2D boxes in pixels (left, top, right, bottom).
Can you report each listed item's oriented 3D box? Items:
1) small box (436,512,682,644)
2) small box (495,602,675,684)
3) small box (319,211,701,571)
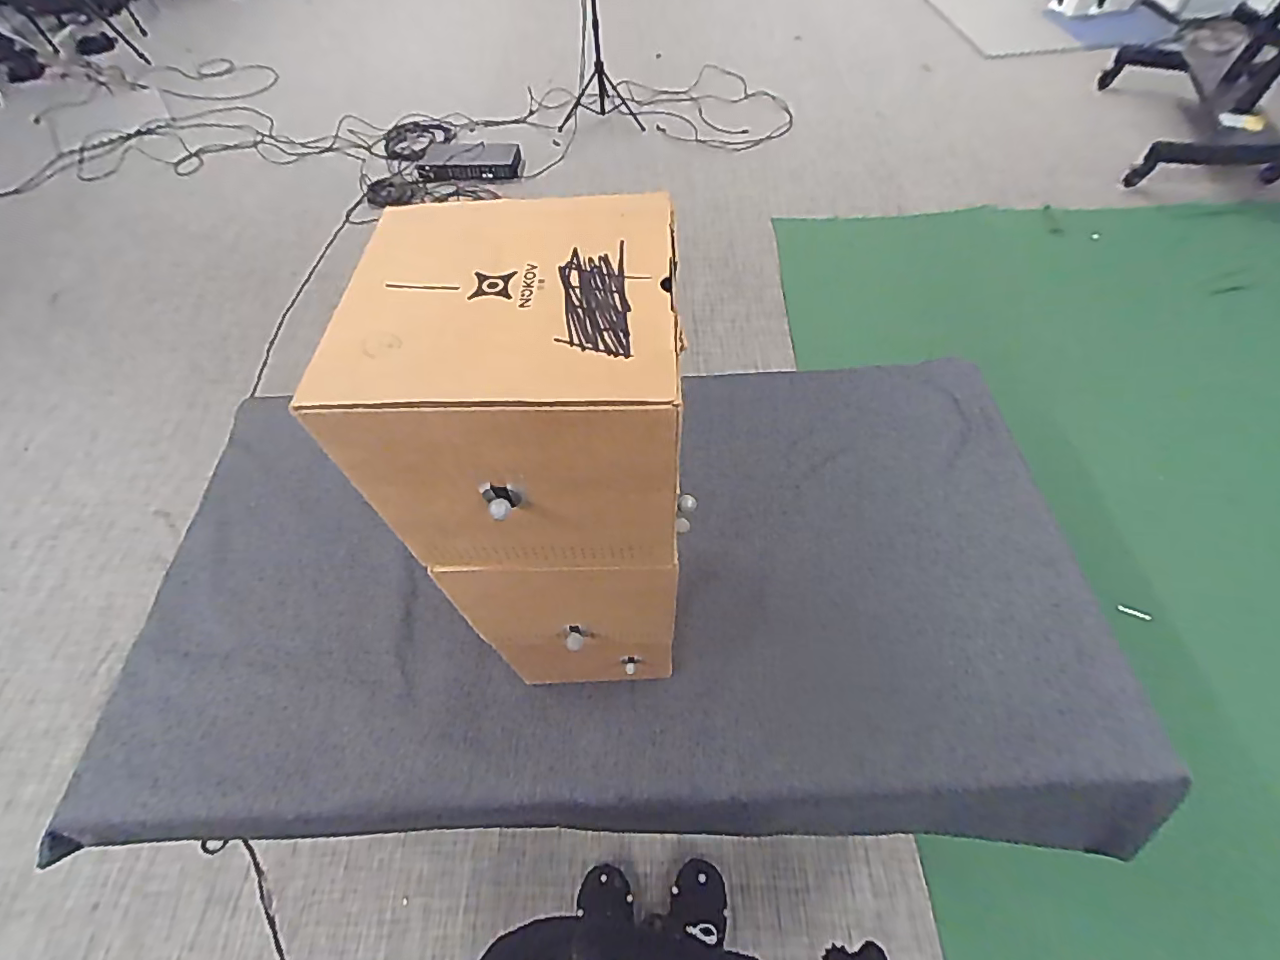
[{"bbox_3d":[-0.058,0.043,0.491,0.179,0.176,0.168,-2,56,0],"label":"small box"},{"bbox_3d":[-0.054,0.130,0.629,0.179,0.176,0.168,-4,56,1],"label":"small box"},{"bbox_3d":[-0.062,-0.050,0.355,0.179,0.176,0.168,-3,56,-1],"label":"small box"}]
